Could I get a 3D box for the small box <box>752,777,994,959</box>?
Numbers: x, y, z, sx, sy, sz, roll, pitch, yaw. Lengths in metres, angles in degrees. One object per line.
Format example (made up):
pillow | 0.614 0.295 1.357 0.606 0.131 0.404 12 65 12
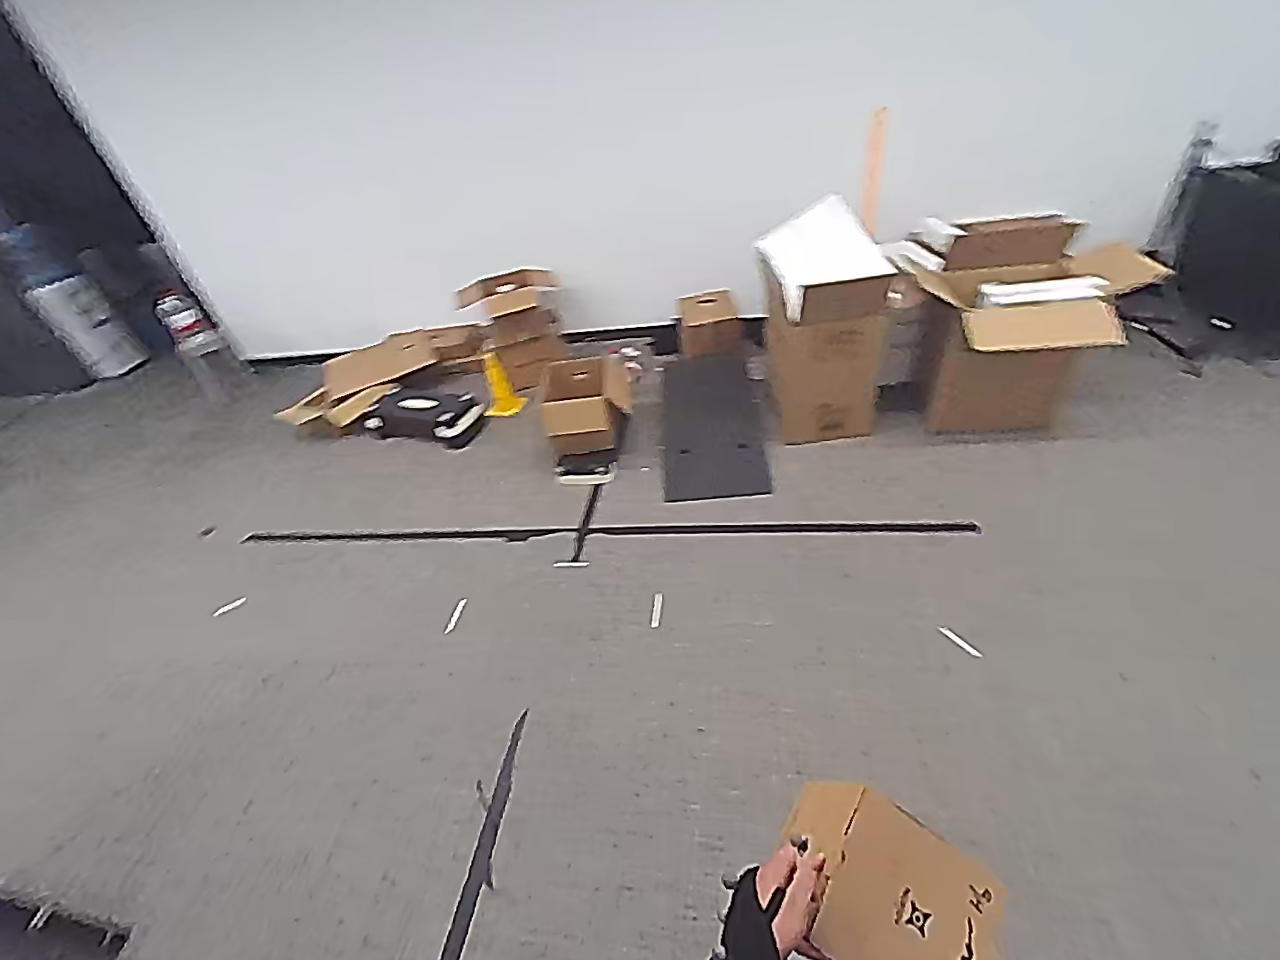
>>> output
small box | 0.256 0.478 0.628 0.179 0.176 0.168 33 61 10
